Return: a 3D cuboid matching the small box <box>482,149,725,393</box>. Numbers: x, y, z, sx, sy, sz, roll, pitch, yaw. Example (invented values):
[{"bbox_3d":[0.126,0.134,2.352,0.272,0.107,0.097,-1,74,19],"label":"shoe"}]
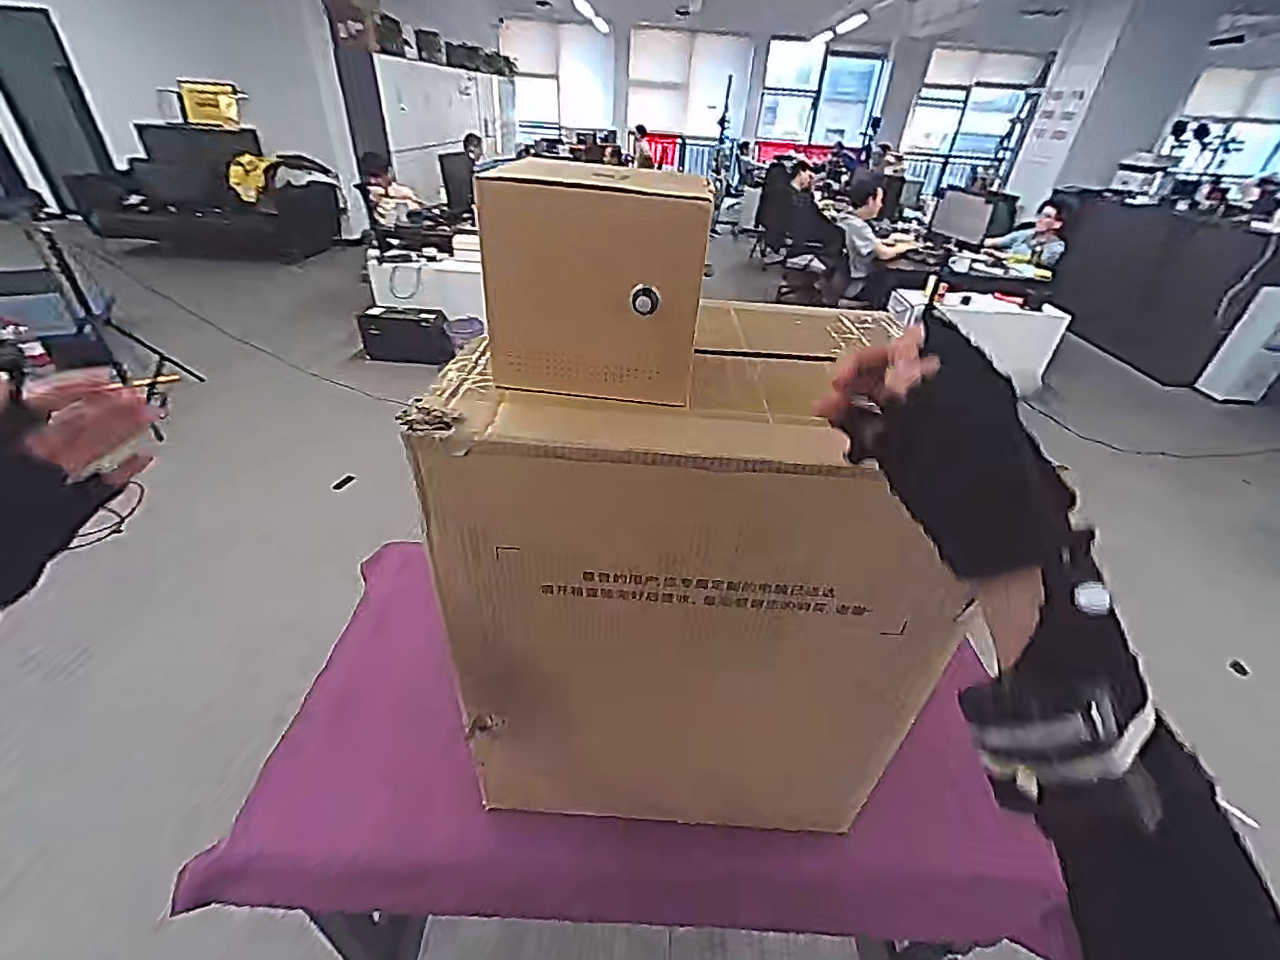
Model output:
[{"bbox_3d":[-0.026,-0.191,0.491,0.179,0.176,0.168,5,34,1],"label":"small box"}]
